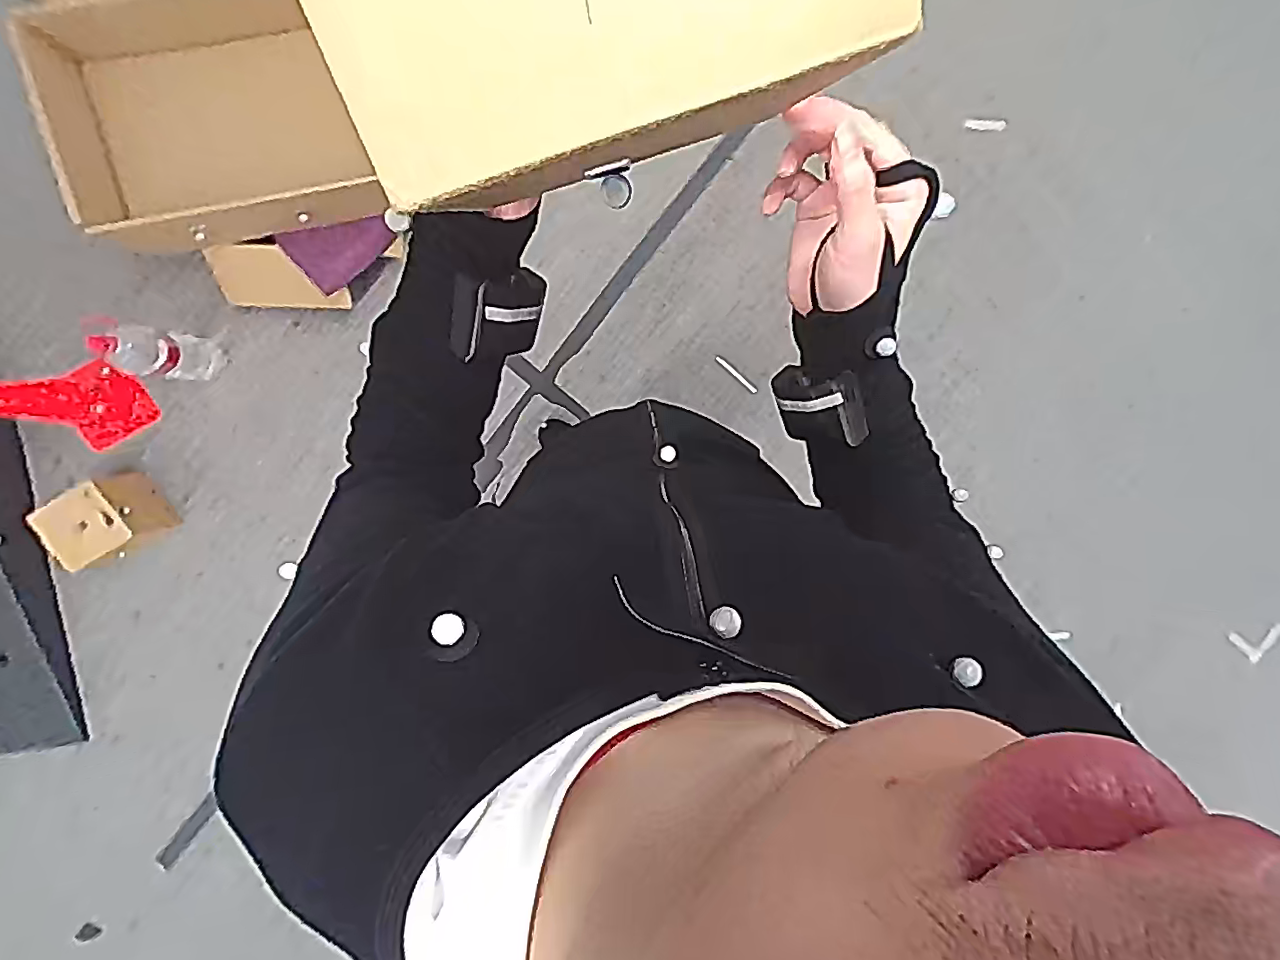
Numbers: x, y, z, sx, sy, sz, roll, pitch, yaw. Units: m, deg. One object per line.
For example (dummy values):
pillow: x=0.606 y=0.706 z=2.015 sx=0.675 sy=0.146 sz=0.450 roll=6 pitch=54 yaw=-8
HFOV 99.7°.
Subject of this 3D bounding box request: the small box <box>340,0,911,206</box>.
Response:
small box: x=-0.019 y=-0.221 z=0.210 sx=0.168 sy=0.176 sz=0.179 roll=-15 pitch=116 yaw=6
